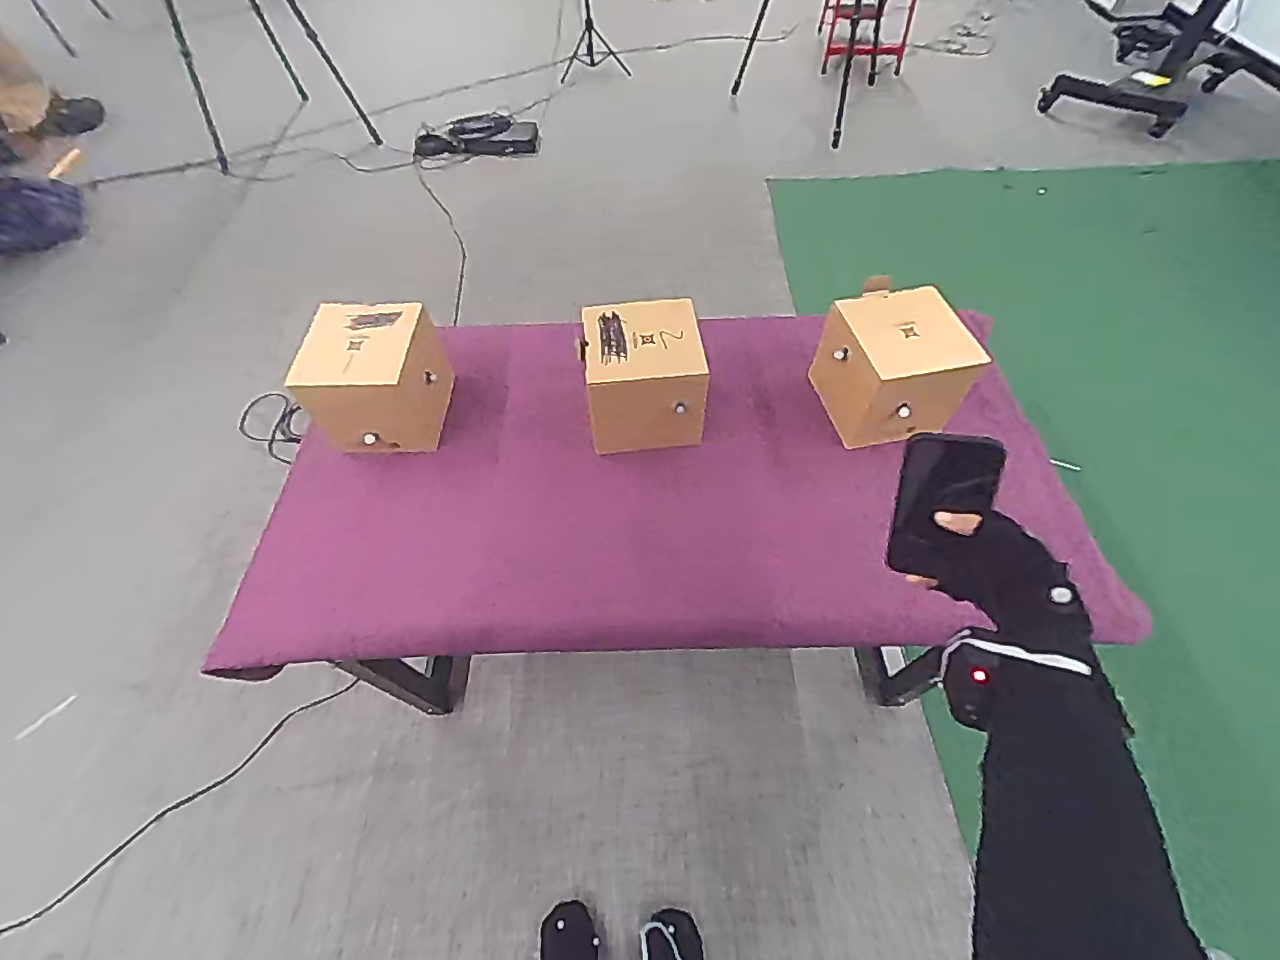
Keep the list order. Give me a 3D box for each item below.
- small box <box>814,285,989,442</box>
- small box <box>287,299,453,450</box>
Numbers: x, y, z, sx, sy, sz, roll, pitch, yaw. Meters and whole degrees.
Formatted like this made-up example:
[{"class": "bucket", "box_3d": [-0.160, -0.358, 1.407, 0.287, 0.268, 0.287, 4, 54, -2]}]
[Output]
[{"class": "small box", "box_3d": [0.398, -0.176, 0.859, 0.168, 0.176, 0.179, -10, 57, -4]}, {"class": "small box", "box_3d": [-0.416, -0.168, 0.872, 0.168, 0.176, 0.179, 0, 59, 1]}]
